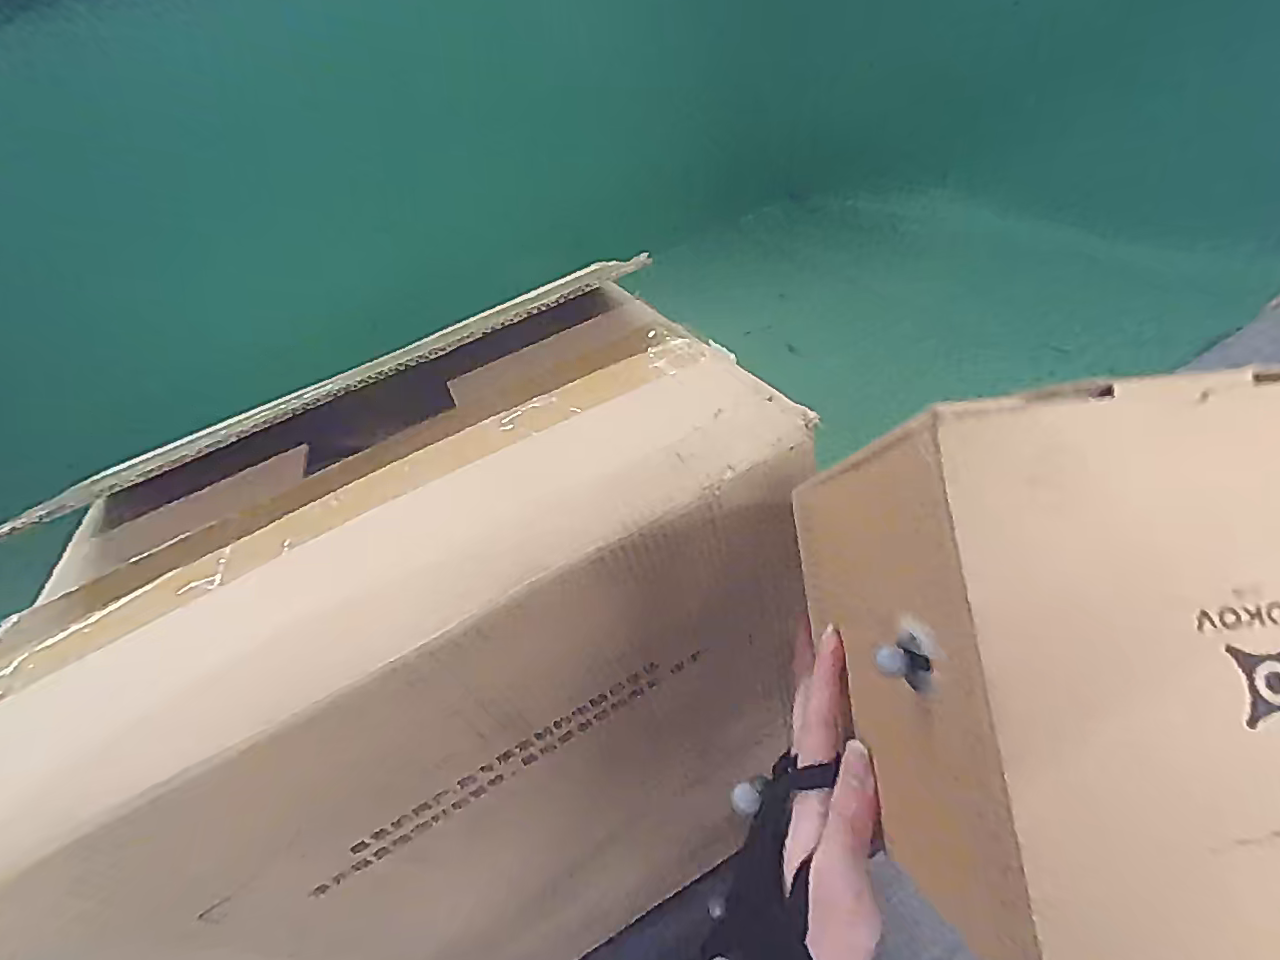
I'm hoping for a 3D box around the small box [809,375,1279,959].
[{"bbox_3d":[0.188,0.069,0.239,0.168,0.176,0.179,-6,79,-1],"label":"small box"}]
